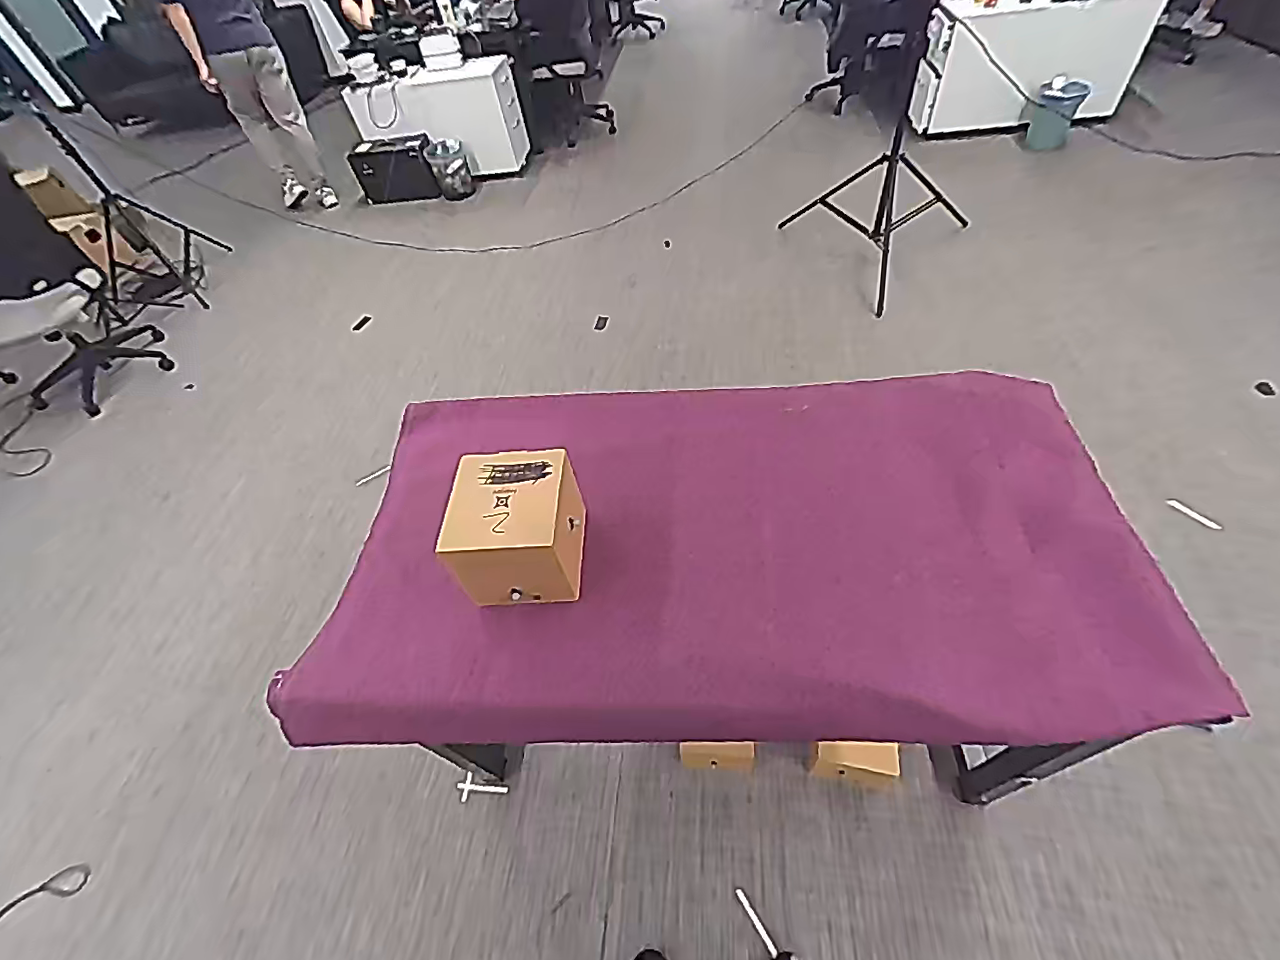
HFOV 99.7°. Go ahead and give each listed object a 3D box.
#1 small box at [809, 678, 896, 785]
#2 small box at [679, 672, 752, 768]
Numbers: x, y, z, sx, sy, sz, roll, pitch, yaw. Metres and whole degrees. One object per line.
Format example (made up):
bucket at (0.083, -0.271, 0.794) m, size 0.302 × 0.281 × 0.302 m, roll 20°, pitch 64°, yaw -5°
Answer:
small box at (0.492, 0.592, 1.265) m, size 0.168 × 0.176 × 0.179 m, roll 6°, pitch 52°, yaw 14°
small box at (0.188, 0.586, 1.314) m, size 0.168 × 0.176 × 0.179 m, roll 1°, pitch 51°, yaw 9°
